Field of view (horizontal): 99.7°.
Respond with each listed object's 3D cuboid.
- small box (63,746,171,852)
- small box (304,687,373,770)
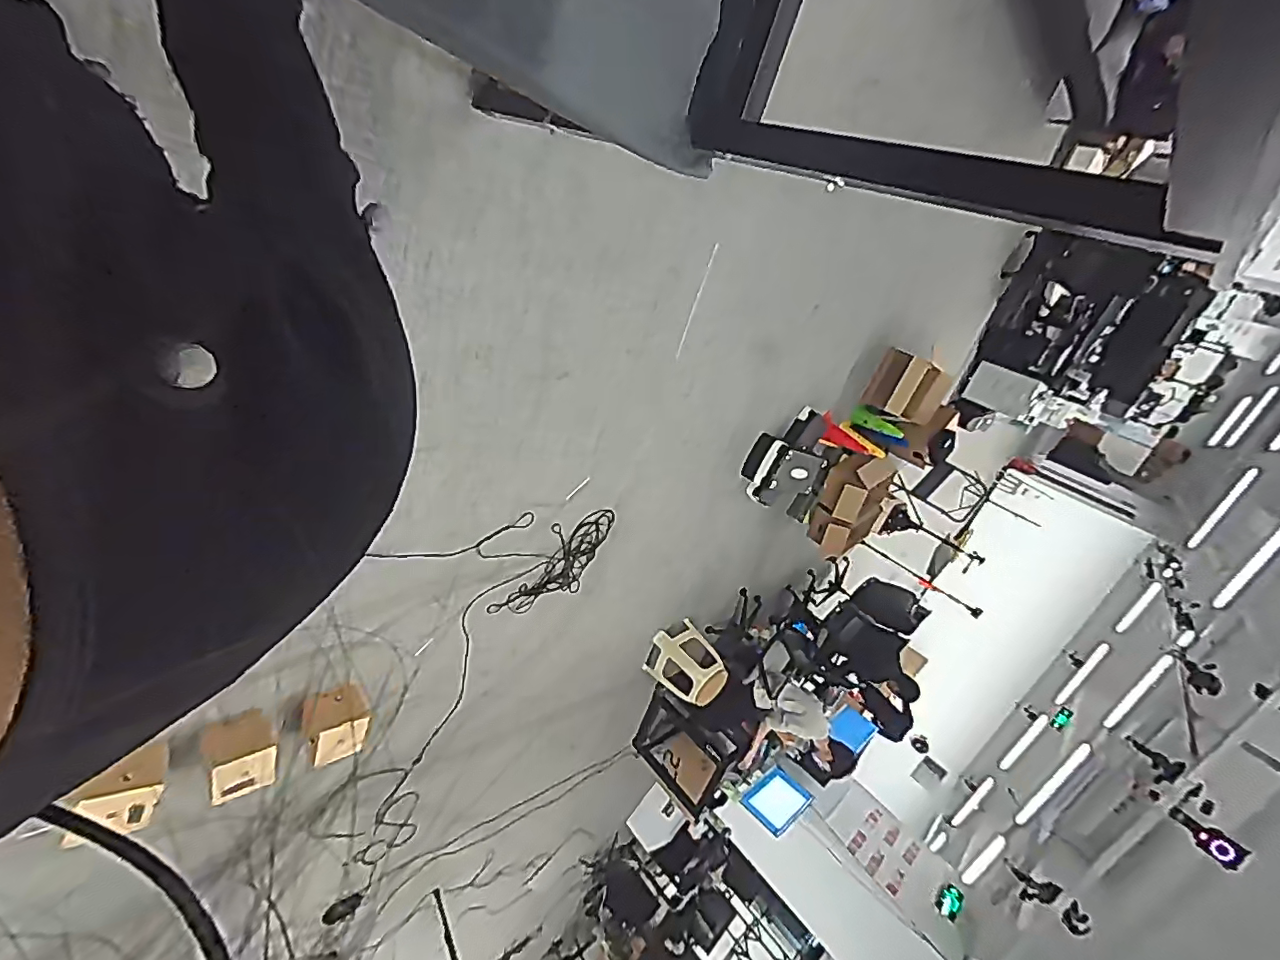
[{"bbox_3d":[-1.444,0.867,1.492,0.179,0.176,0.168,17,105,-52],"label":"small box"},{"bbox_3d":[-1.080,0.881,1.931,0.168,0.176,0.179,-4,121,-48],"label":"small box"}]
